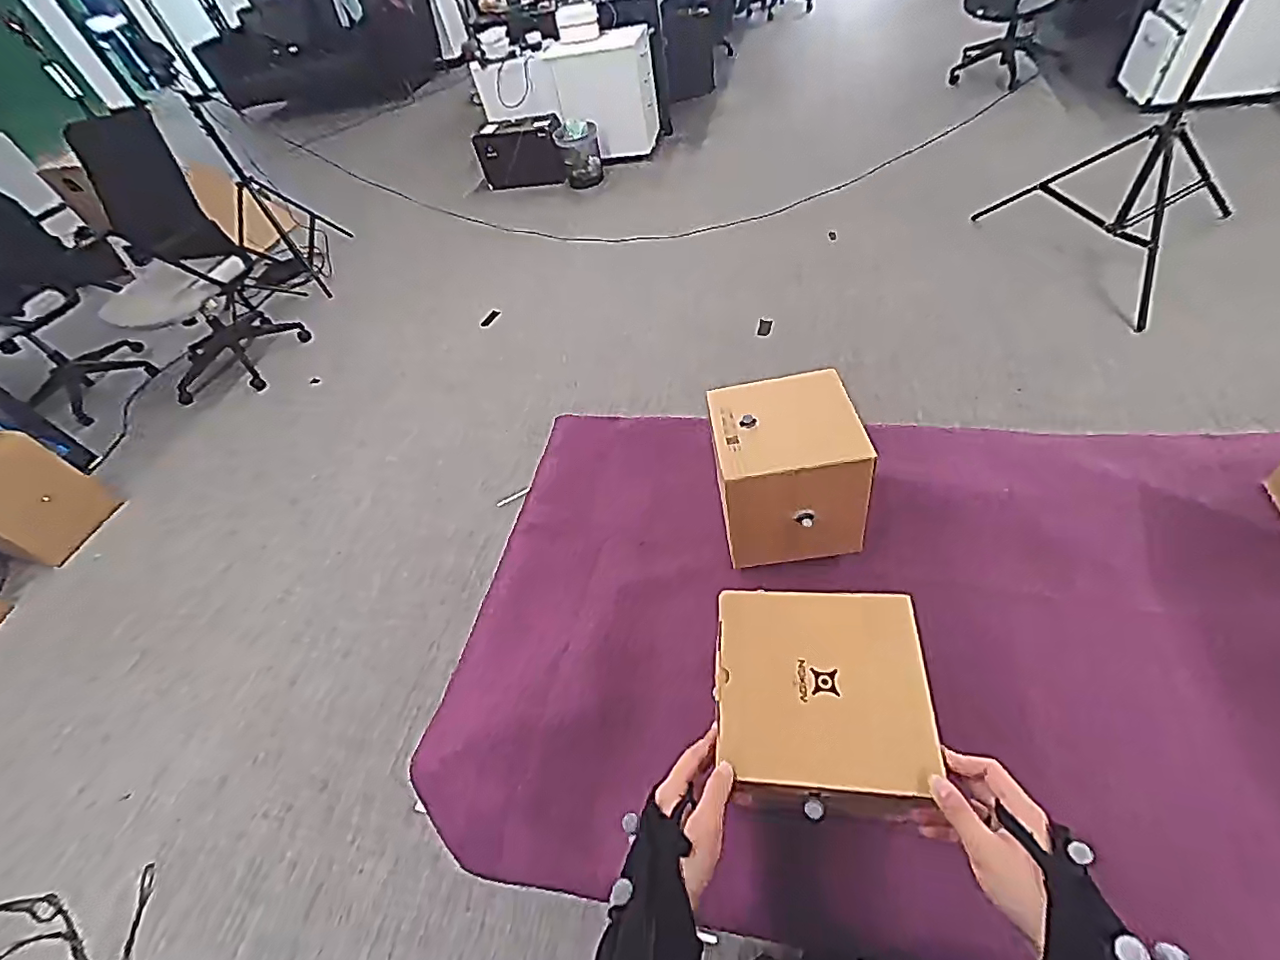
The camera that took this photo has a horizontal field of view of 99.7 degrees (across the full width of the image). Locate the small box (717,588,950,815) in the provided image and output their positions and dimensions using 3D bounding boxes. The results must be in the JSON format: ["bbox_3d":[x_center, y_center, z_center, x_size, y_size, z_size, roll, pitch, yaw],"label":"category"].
[{"bbox_3d":[0.169,0.218,0.527,0.179,0.176,0.168,-2,53,12],"label":"small box"}]
